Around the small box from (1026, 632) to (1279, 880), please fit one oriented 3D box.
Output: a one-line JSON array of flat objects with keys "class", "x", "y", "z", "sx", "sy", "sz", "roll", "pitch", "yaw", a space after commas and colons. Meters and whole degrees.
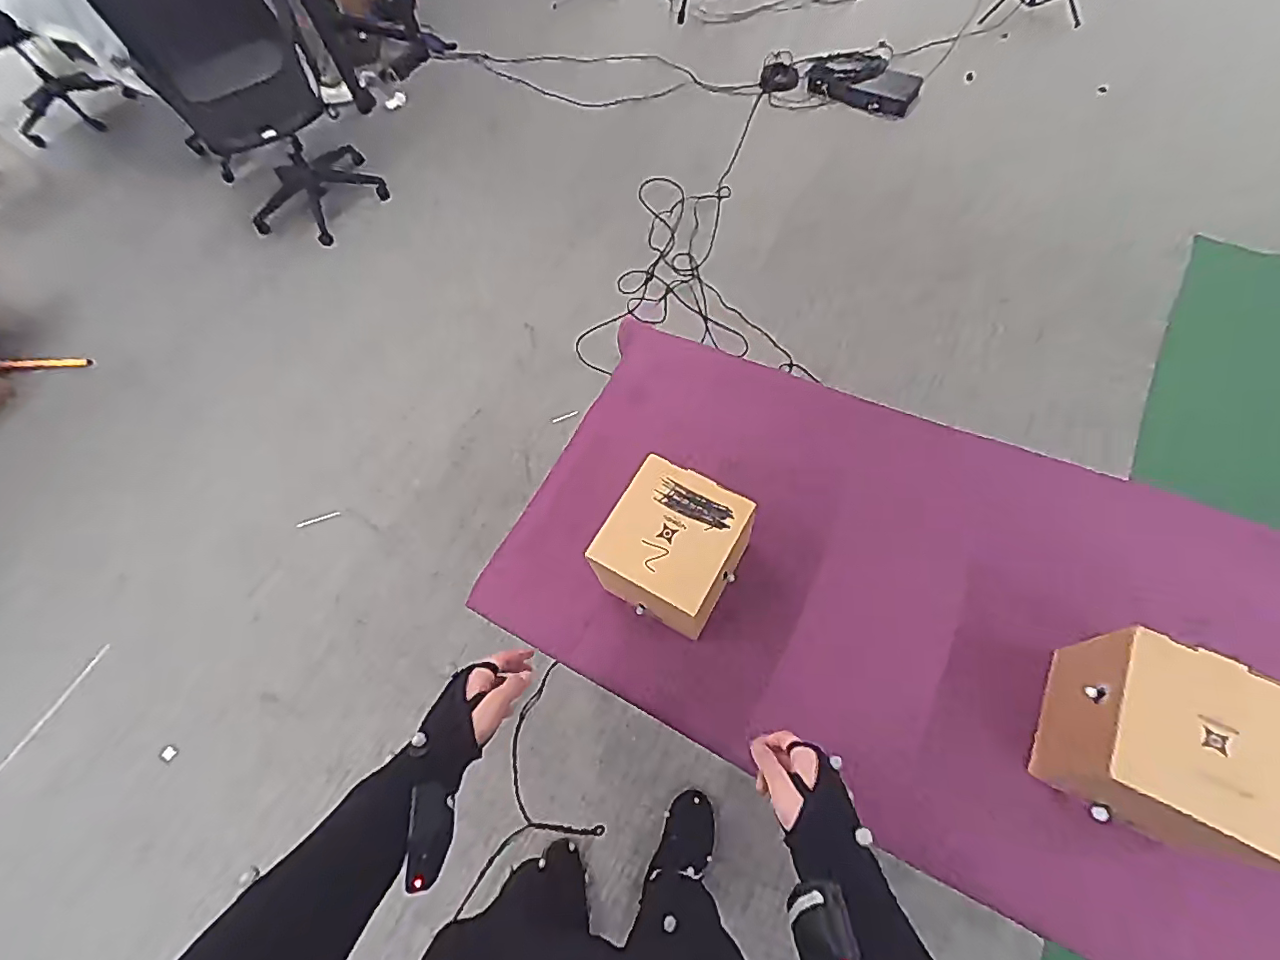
[{"class": "small box", "x": 0.584, "y": 0.305, "z": 0.618, "sx": 0.168, "sy": 0.176, "sz": 0.179, "roll": 25, "pitch": 68, "yaw": 19}]
